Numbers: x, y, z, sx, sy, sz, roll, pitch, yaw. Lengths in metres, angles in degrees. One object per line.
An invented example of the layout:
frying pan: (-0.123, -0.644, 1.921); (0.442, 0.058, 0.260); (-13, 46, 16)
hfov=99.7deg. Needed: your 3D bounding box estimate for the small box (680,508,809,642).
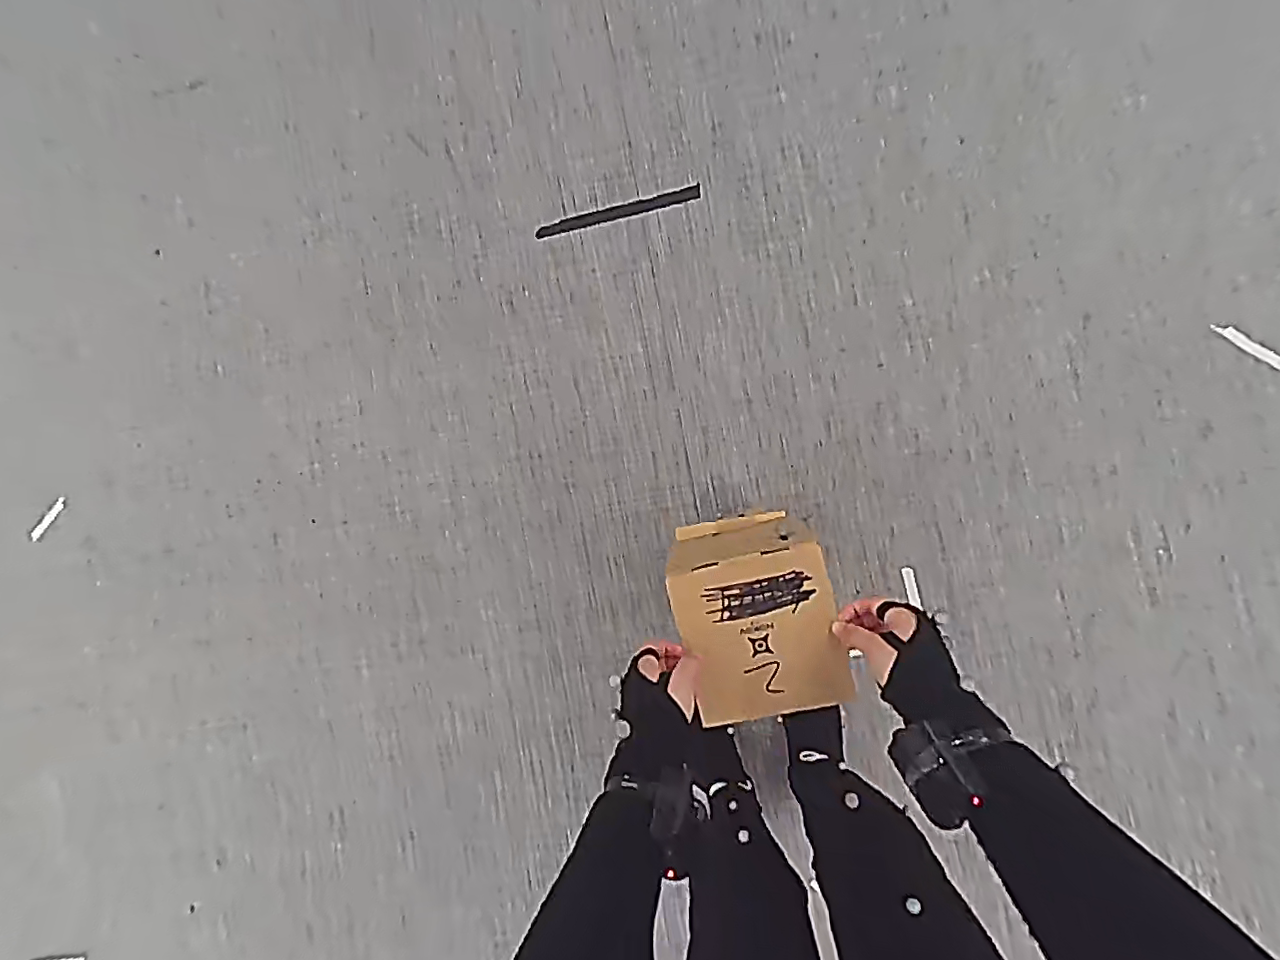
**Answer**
small box: (0.156, 0.142, 0.860); (0.168, 0.176, 0.179); (-10, 87, 6)
